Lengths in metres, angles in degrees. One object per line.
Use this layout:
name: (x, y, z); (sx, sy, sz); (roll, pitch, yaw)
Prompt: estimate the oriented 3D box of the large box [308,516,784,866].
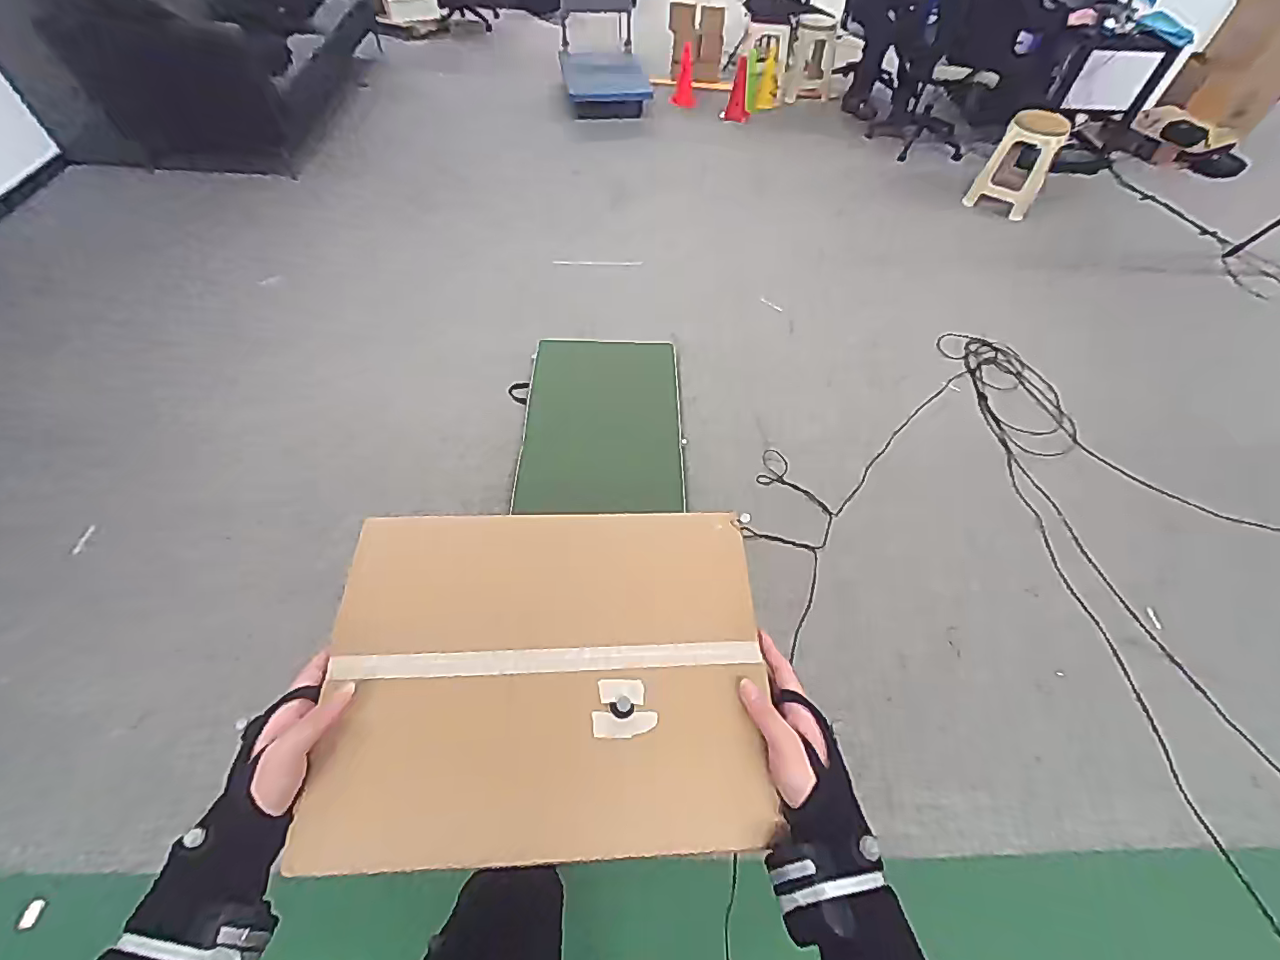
large box: (-0.091, 0.255, 0.653); (0.408, 0.320, 0.320); (0, 58, -5)
